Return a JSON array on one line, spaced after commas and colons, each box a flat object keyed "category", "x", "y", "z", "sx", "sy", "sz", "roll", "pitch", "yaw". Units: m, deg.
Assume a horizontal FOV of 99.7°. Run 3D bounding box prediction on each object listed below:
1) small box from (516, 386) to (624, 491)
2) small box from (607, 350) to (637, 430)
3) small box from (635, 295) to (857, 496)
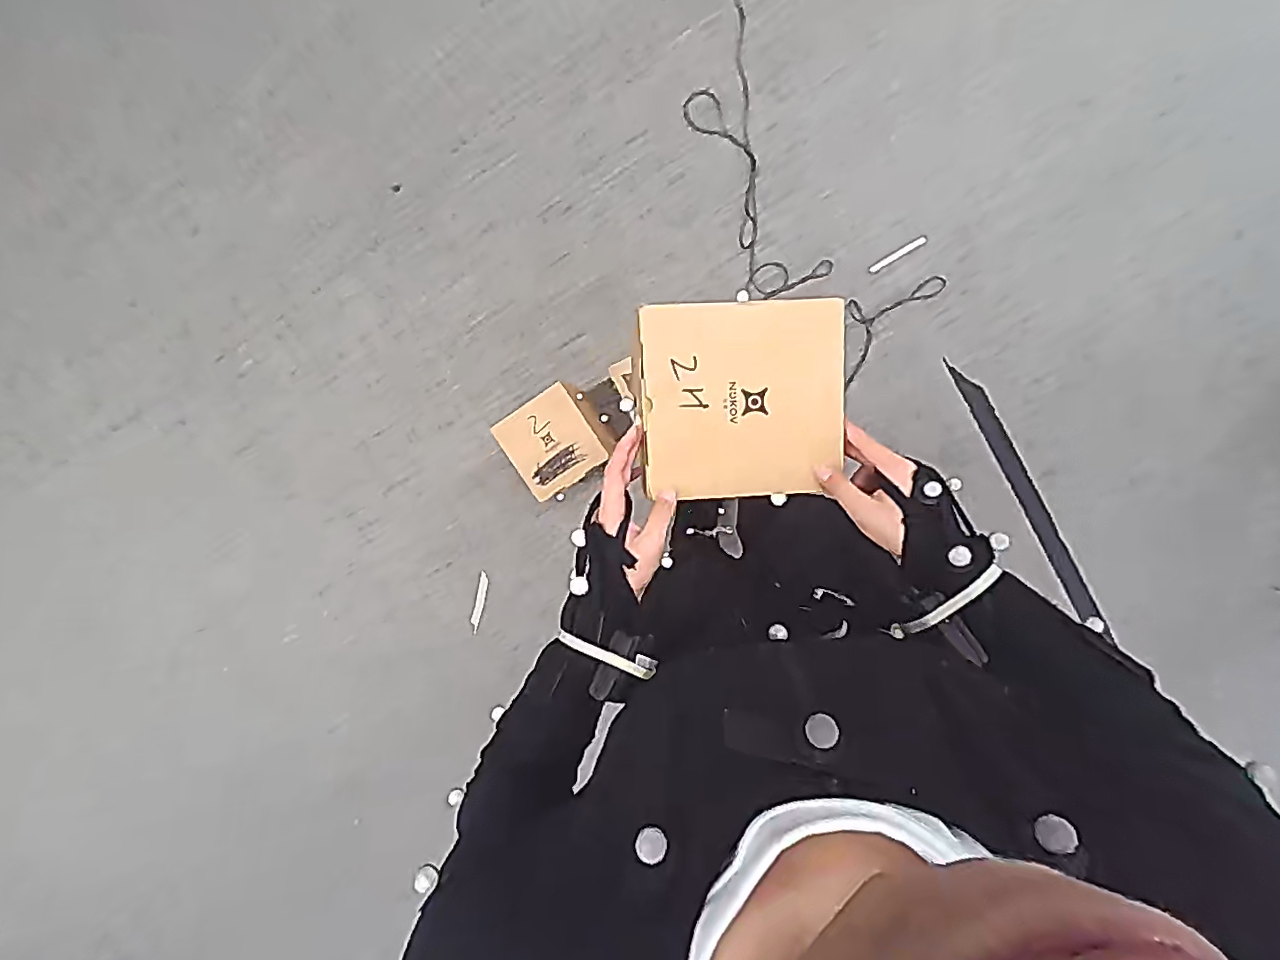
[{"category": "small box", "x": -0.154, "y": -0.098, "z": 1.258, "sx": 0.168, "sy": 0.176, "sz": 0.179, "roll": -38, "pitch": 94, "yaw": 7}, {"category": "small box", "x": 0.045, "y": -0.218, "z": 1.229, "sx": 0.179, "sy": 0.176, "sz": 0.168, "roll": -26, "pitch": 95, "yaw": 5}, {"category": "small box", "x": 0.089, "y": -0.081, "z": 0.528, "sx": 0.179, "sy": 0.176, "sz": 0.168, "roll": -2, "pitch": 97, "yaw": -3}]
